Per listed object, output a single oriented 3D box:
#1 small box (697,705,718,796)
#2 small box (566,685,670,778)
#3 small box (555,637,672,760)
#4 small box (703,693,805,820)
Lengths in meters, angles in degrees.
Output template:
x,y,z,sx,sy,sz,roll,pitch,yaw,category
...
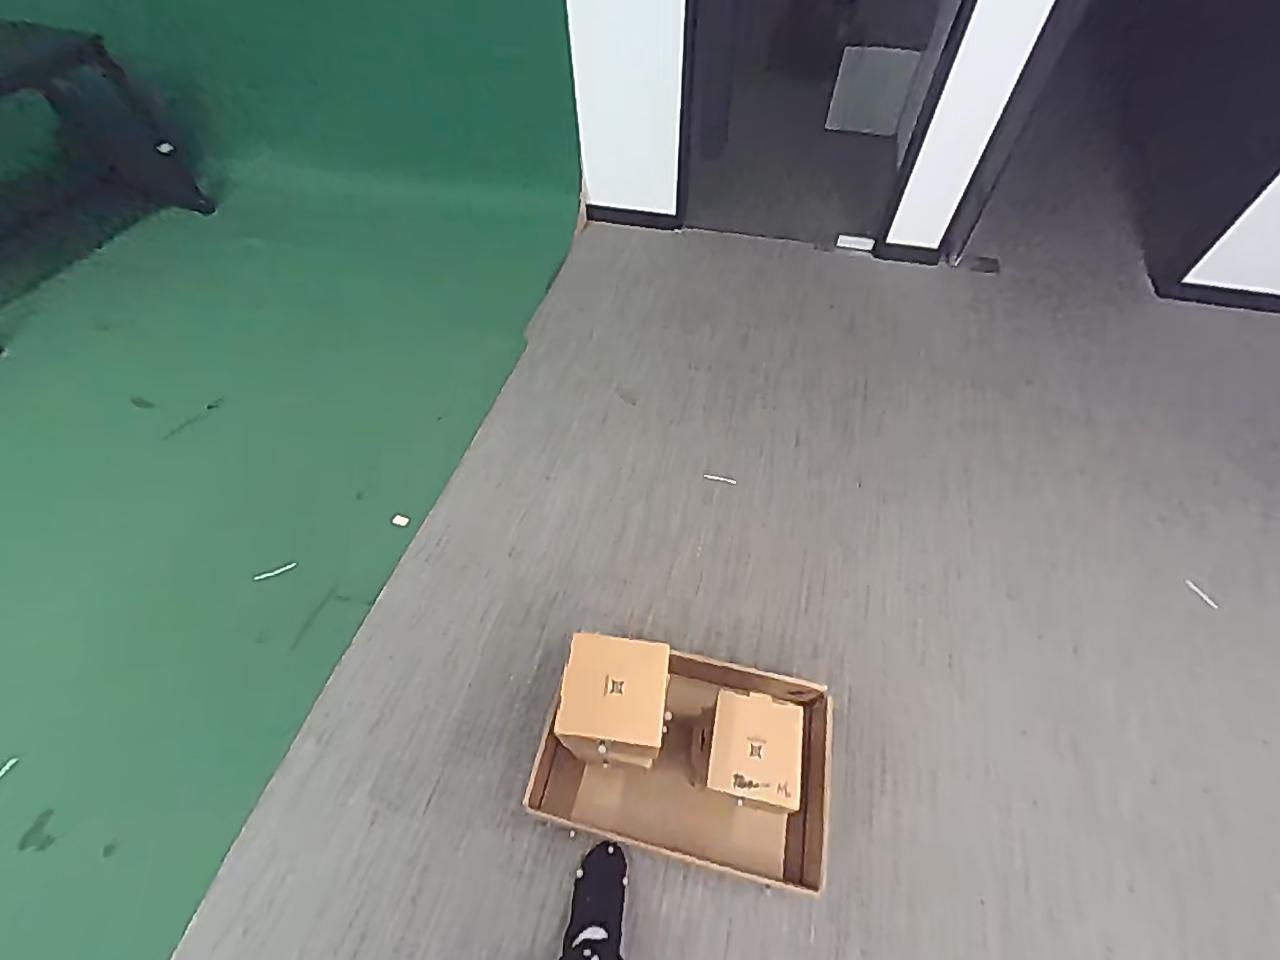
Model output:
x,y,z,sx,sy,sz,roll,pitch,yaw,category
0.221,0.619,1.210,0.179,0.176,0.168,6,56,6,small box
-0.037,0.492,1.104,0.168,0.176,0.179,12,57,8,small box
-0.040,0.397,0.971,0.179,0.176,0.168,6,57,5,small box
0.220,0.546,1.062,0.168,0.176,0.179,9,55,8,small box
